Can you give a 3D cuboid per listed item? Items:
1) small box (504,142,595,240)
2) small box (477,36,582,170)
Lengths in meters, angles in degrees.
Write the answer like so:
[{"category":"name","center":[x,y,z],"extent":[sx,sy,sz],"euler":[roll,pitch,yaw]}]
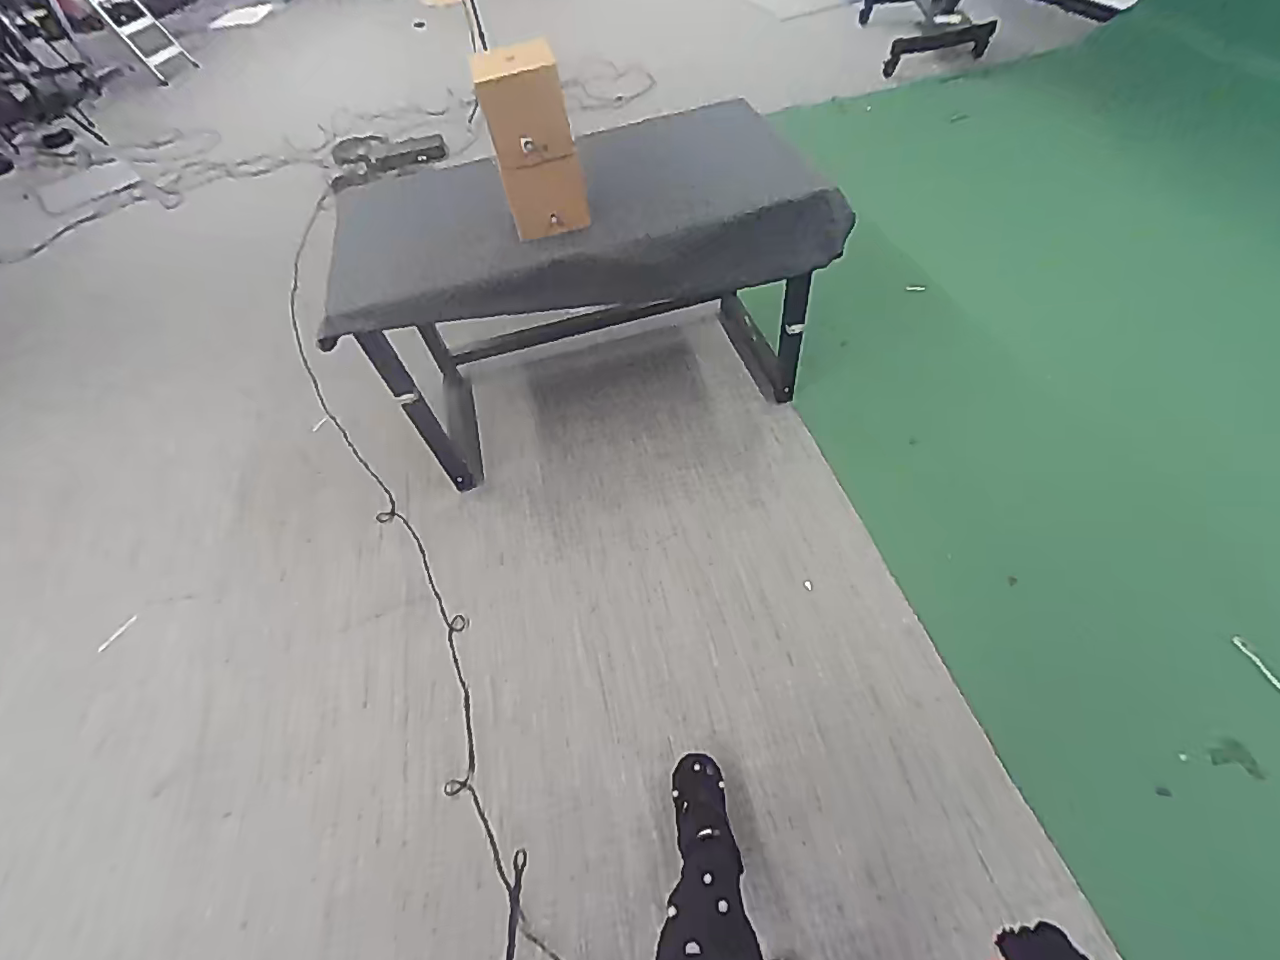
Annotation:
[{"category":"small box","center":[-0.209,-0.697,1.271],"extent":[0.179,0.176,0.168],"euler":[-15,53,-3]},{"category":"small box","center":[-0.231,-0.791,1.140],"extent":[0.168,0.176,0.179],"euler":[-17,55,-1]}]
